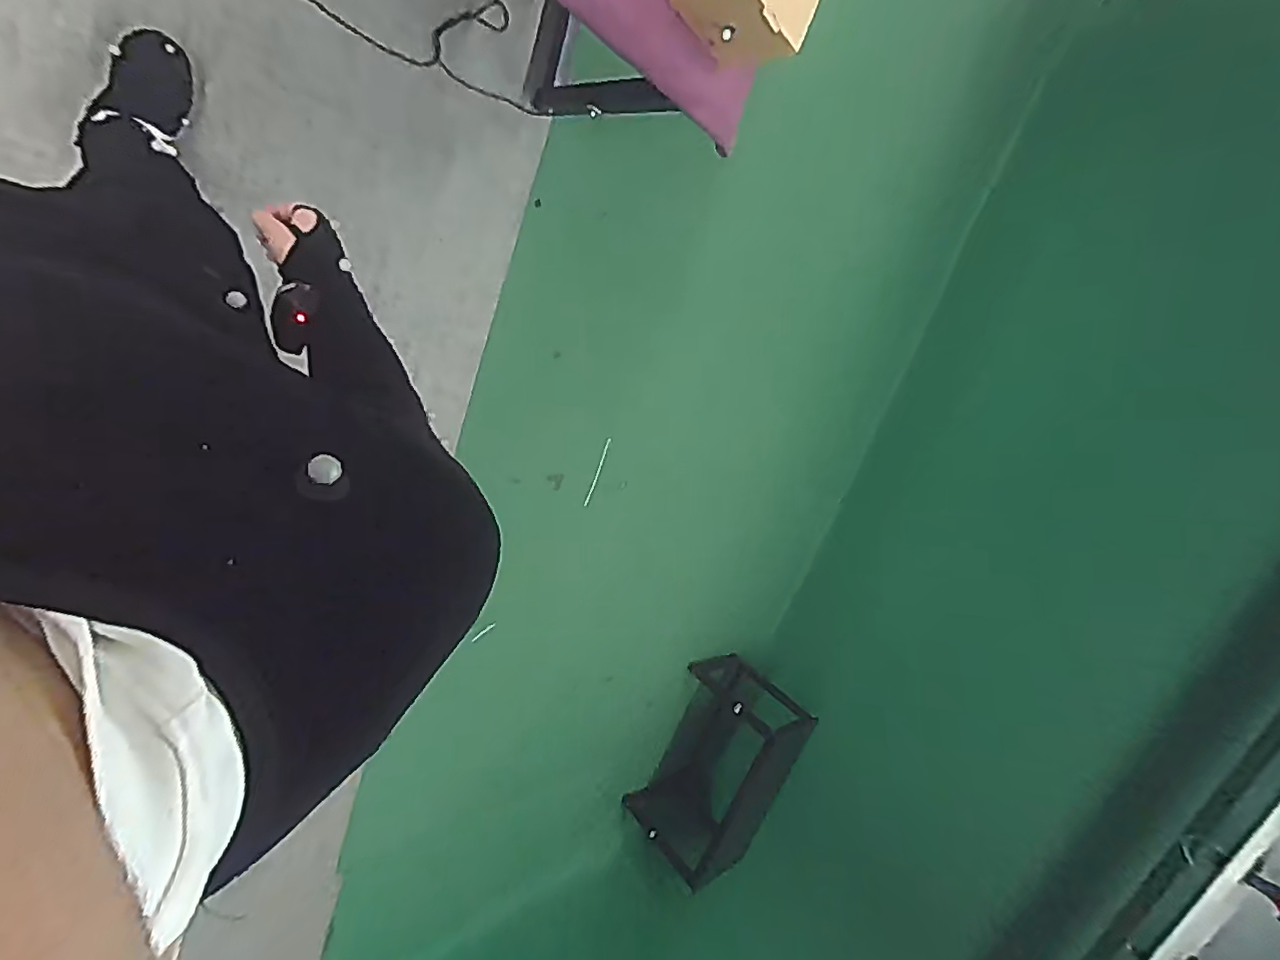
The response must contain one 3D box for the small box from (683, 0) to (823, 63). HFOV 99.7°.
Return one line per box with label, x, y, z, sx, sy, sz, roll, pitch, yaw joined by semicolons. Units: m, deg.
small box;0.190;-0.822;0.879;0.168;0.176;0.179;11;106;-47
